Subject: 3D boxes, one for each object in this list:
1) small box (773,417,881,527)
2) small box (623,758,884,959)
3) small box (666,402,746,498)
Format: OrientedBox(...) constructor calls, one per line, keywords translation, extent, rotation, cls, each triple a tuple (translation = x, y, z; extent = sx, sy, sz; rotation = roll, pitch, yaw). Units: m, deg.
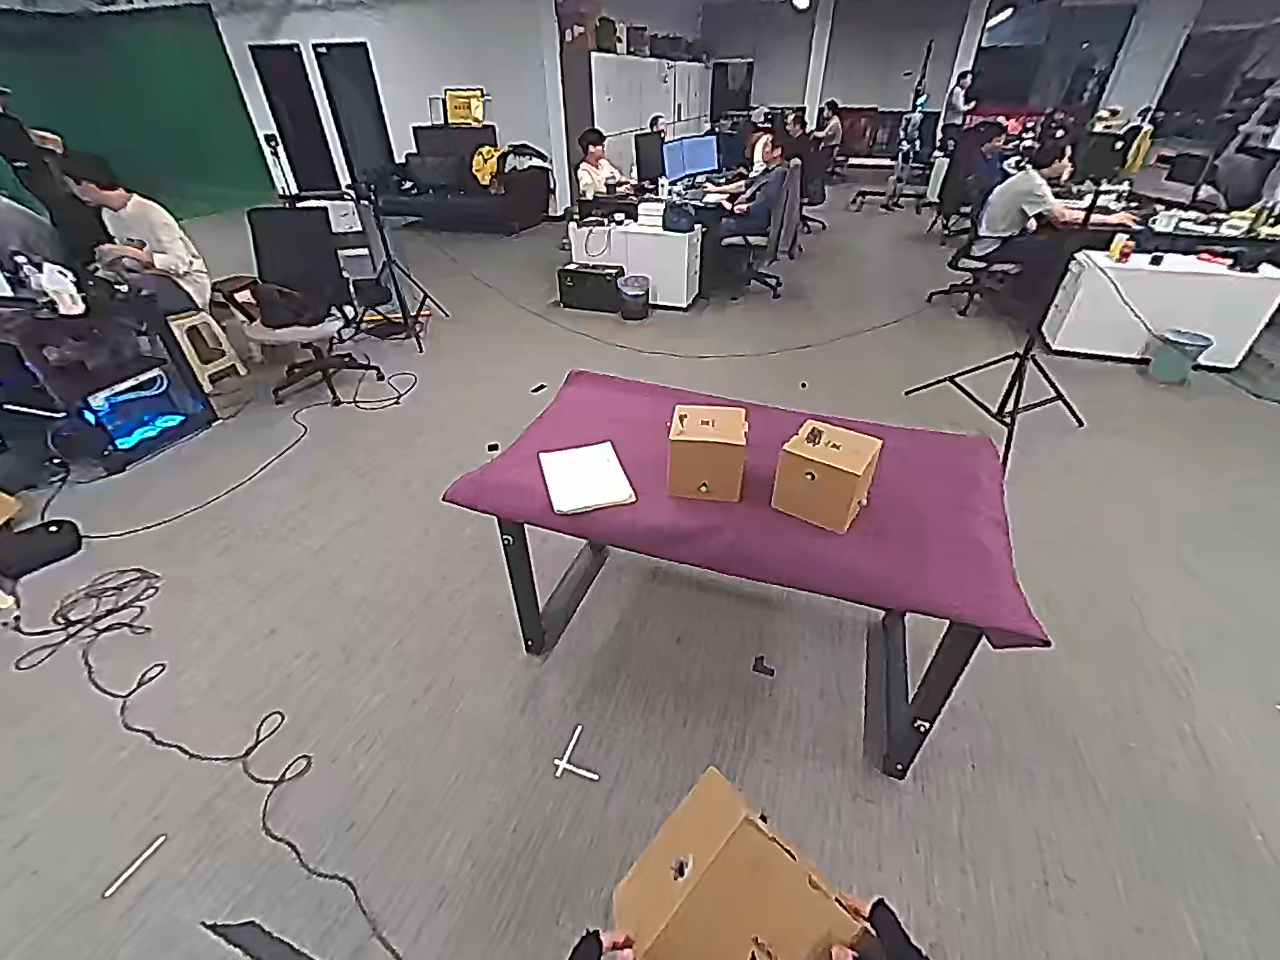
OrientedBox(translation=(0.423, -0.019, 1.241), extent=(0.179, 0.176, 0.168), rotation=(23, 41, 28), cls="small box")
OrientedBox(translation=(0.093, 0.417, 0.540), extent=(0.168, 0.176, 0.179), rotation=(41, 77, 7), cls="small box")
OrientedBox(translation=(0.162, -0.072, 1.324), extent=(0.179, 0.176, 0.168), rotation=(5, 36, 7), cls="small box")
